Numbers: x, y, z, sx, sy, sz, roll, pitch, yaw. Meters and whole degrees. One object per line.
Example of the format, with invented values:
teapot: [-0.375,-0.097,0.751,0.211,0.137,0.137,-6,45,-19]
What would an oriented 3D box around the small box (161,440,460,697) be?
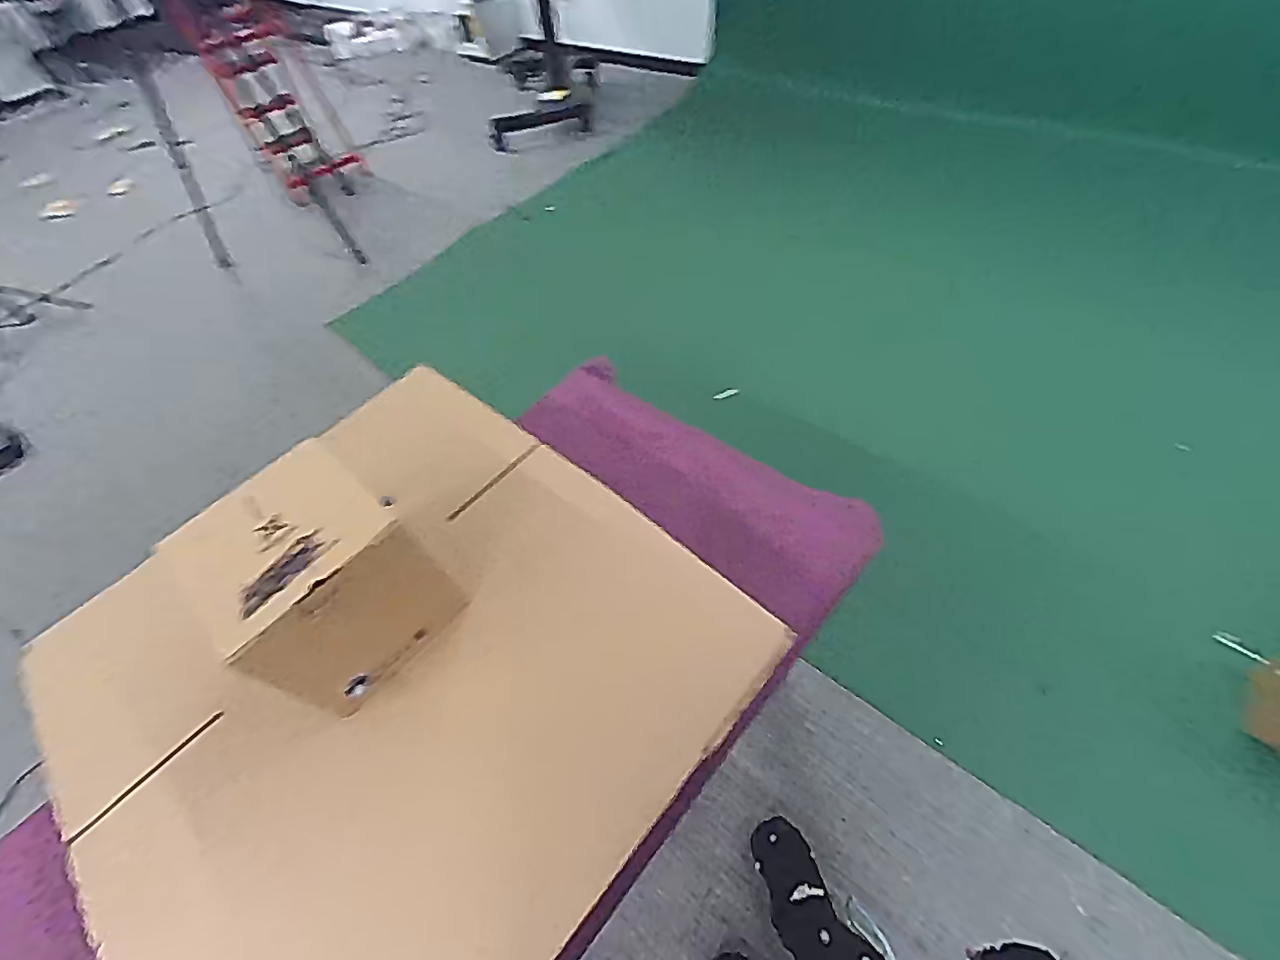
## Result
small box: [-0.319,0.097,0.555,0.179,0.176,0.168,32,64,29]

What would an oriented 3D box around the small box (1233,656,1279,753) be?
small box: [1.442,0.490,1.158,0.168,0.176,0.179,30,63,26]
